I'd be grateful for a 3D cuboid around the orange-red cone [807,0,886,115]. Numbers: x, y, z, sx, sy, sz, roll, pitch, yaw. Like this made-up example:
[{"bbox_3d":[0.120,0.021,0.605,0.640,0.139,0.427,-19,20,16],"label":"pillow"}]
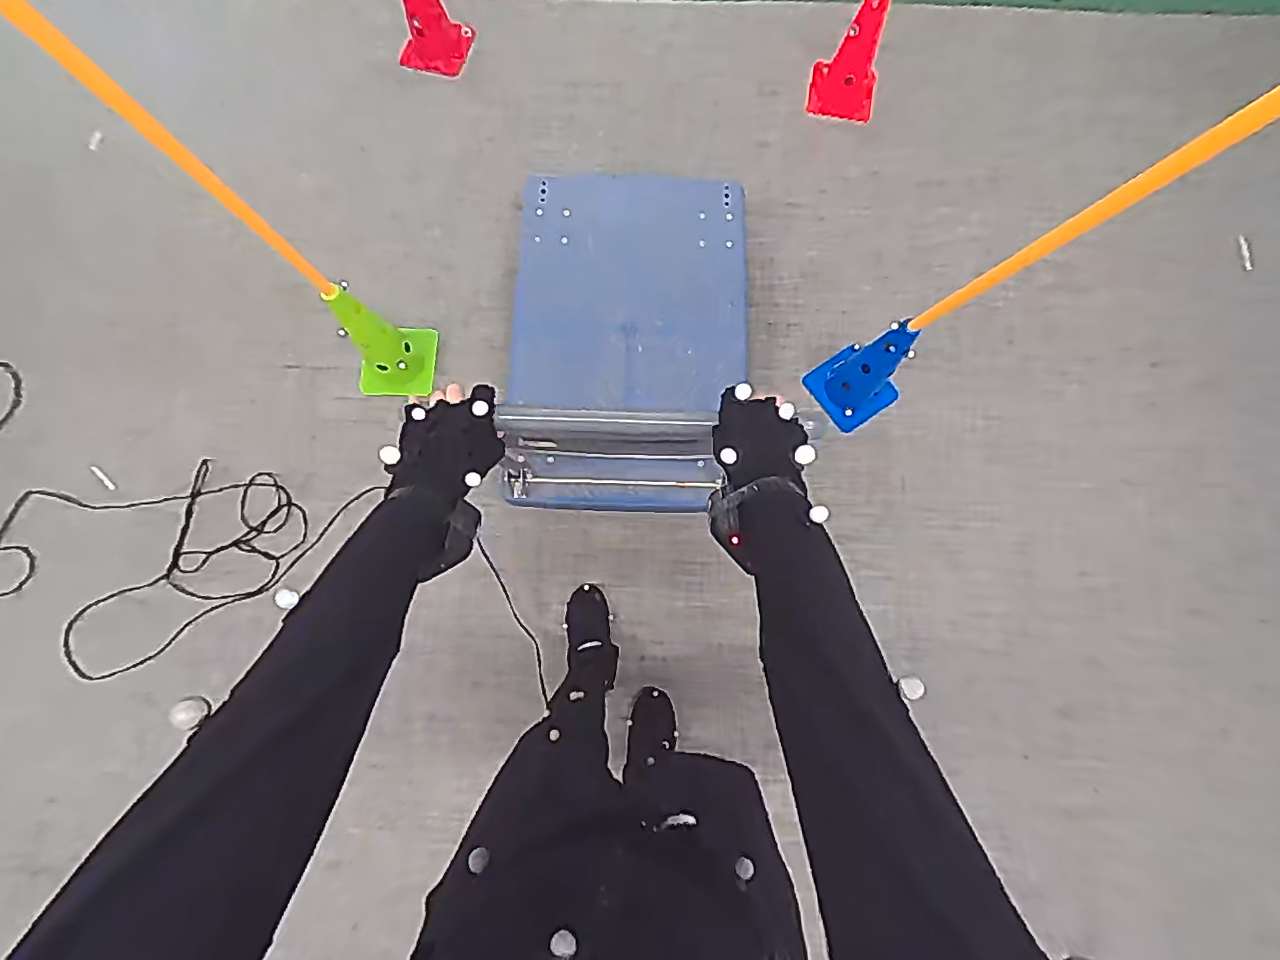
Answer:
[{"bbox_3d":[0.623,-1.254,1.501,0.198,0.360,0.199,13,80,4],"label":"orange-red cone"}]
